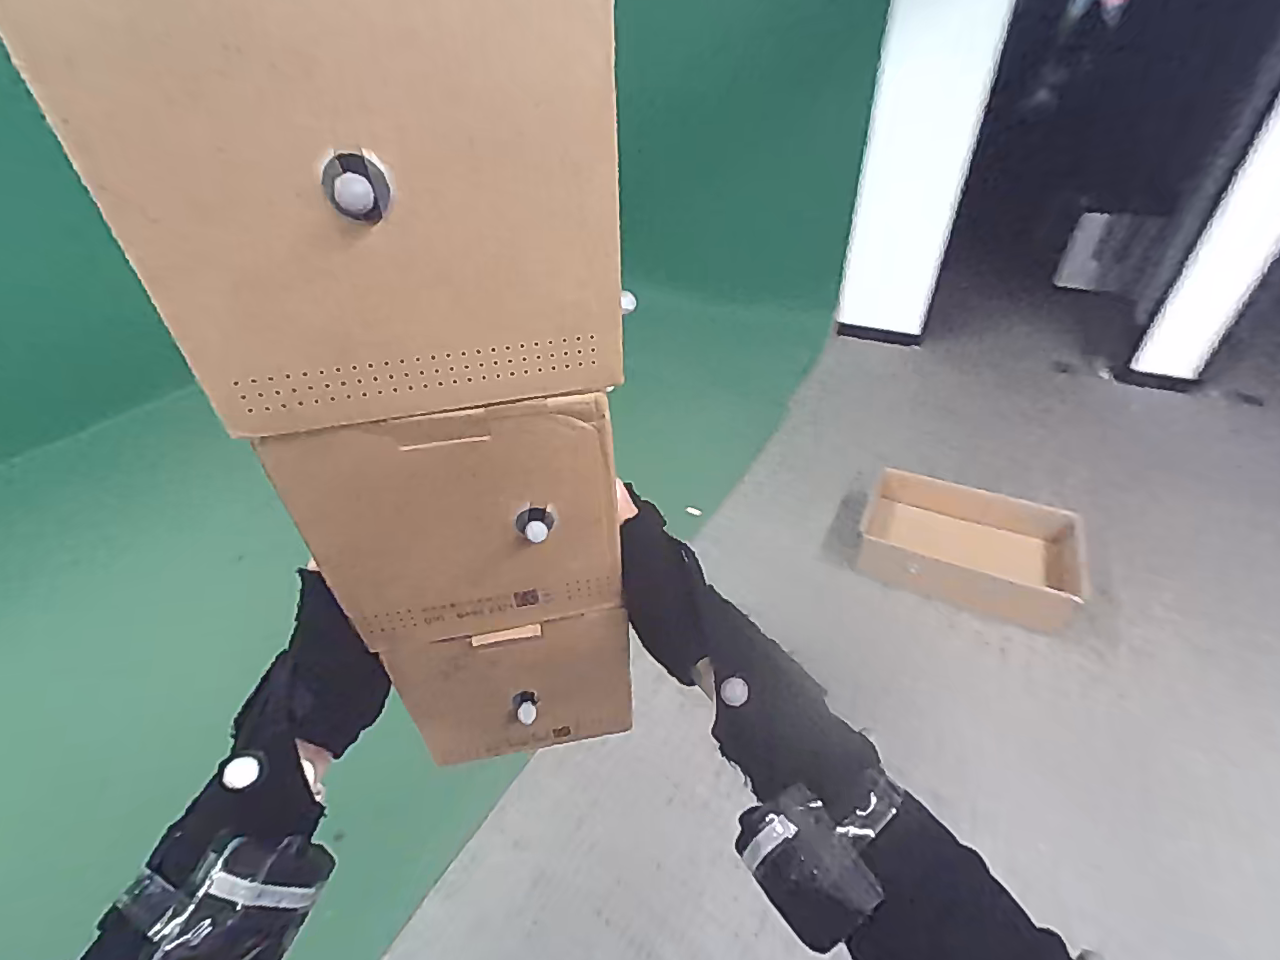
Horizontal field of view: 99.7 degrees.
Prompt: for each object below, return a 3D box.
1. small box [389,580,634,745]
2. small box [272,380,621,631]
[{"bbox_3d":[-0.099,0.112,0.480,0.168,0.176,0.179,-7,40,-7],"label":"small box"},{"bbox_3d":[-0.107,-0.014,0.376,0.168,0.176,0.179,-7,38,-9],"label":"small box"}]
